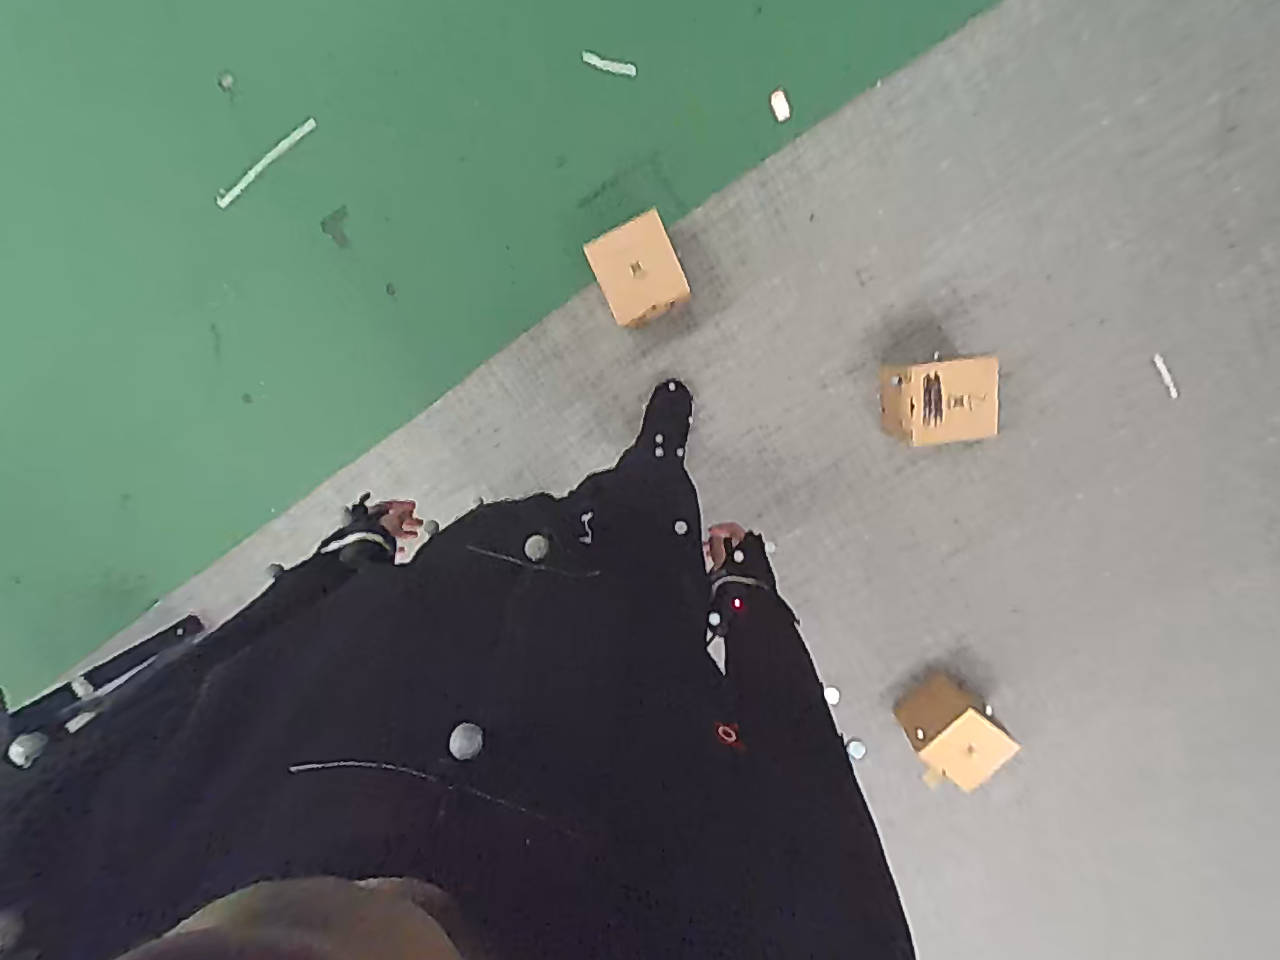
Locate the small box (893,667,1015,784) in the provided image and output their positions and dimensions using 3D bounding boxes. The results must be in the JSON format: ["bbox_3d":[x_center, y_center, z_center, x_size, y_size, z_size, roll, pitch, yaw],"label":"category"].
[{"bbox_3d":[0.784,0.614,1.372,0.168,0.176,0.179,36,105,-5],"label":"small box"}]

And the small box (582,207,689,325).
[{"bbox_3d":[-0.002,-0.449,1.165,0.168,0.176,0.179,-24,101,9],"label":"small box"}]
